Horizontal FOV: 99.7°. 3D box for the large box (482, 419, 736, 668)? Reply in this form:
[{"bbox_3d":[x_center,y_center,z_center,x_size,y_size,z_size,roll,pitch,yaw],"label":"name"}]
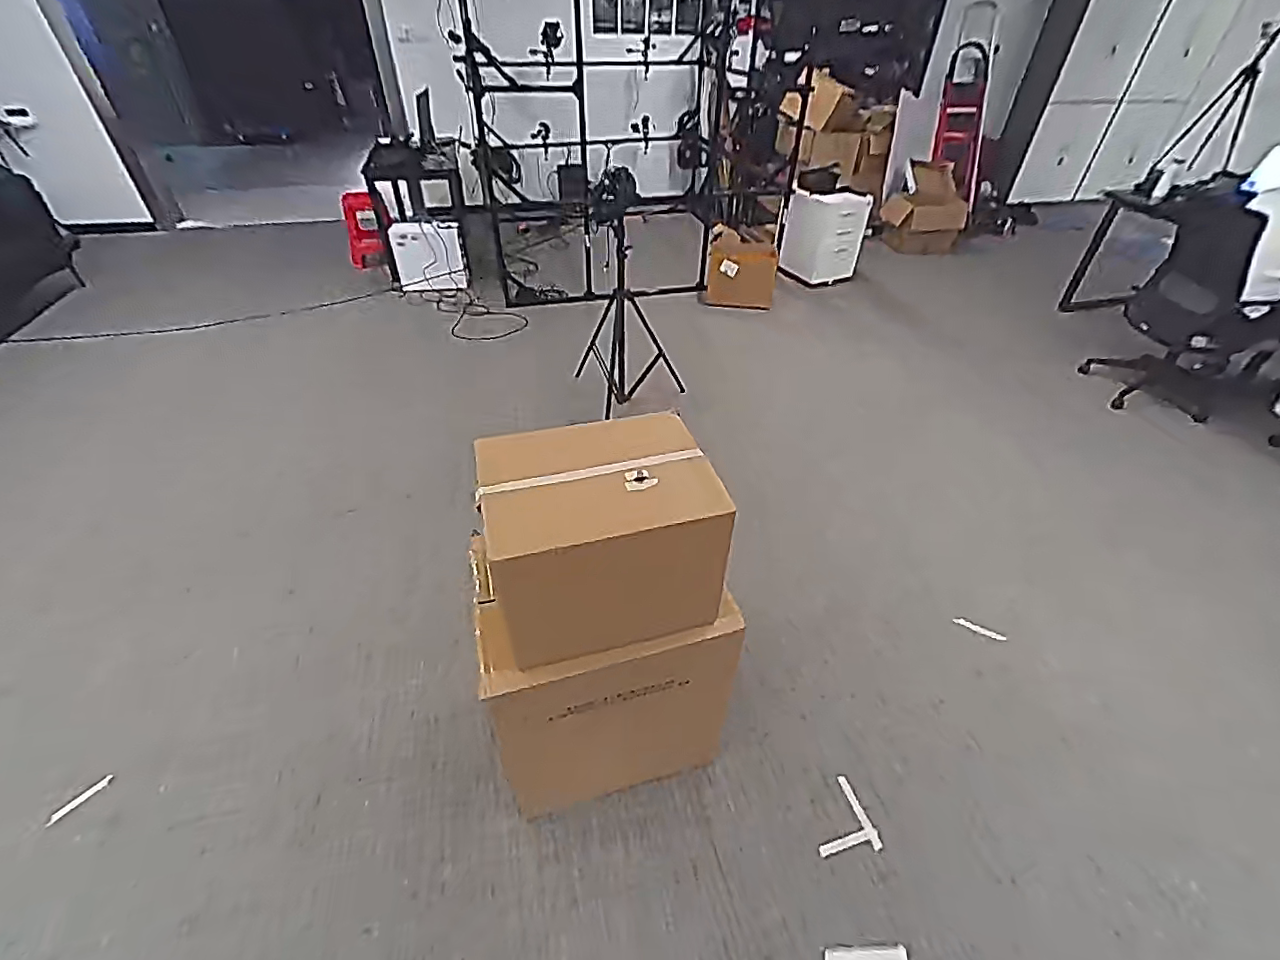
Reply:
[{"bbox_3d":[-0.073,0.114,1.068,0.408,0.320,0.320,-10,42,-14],"label":"large box"}]
